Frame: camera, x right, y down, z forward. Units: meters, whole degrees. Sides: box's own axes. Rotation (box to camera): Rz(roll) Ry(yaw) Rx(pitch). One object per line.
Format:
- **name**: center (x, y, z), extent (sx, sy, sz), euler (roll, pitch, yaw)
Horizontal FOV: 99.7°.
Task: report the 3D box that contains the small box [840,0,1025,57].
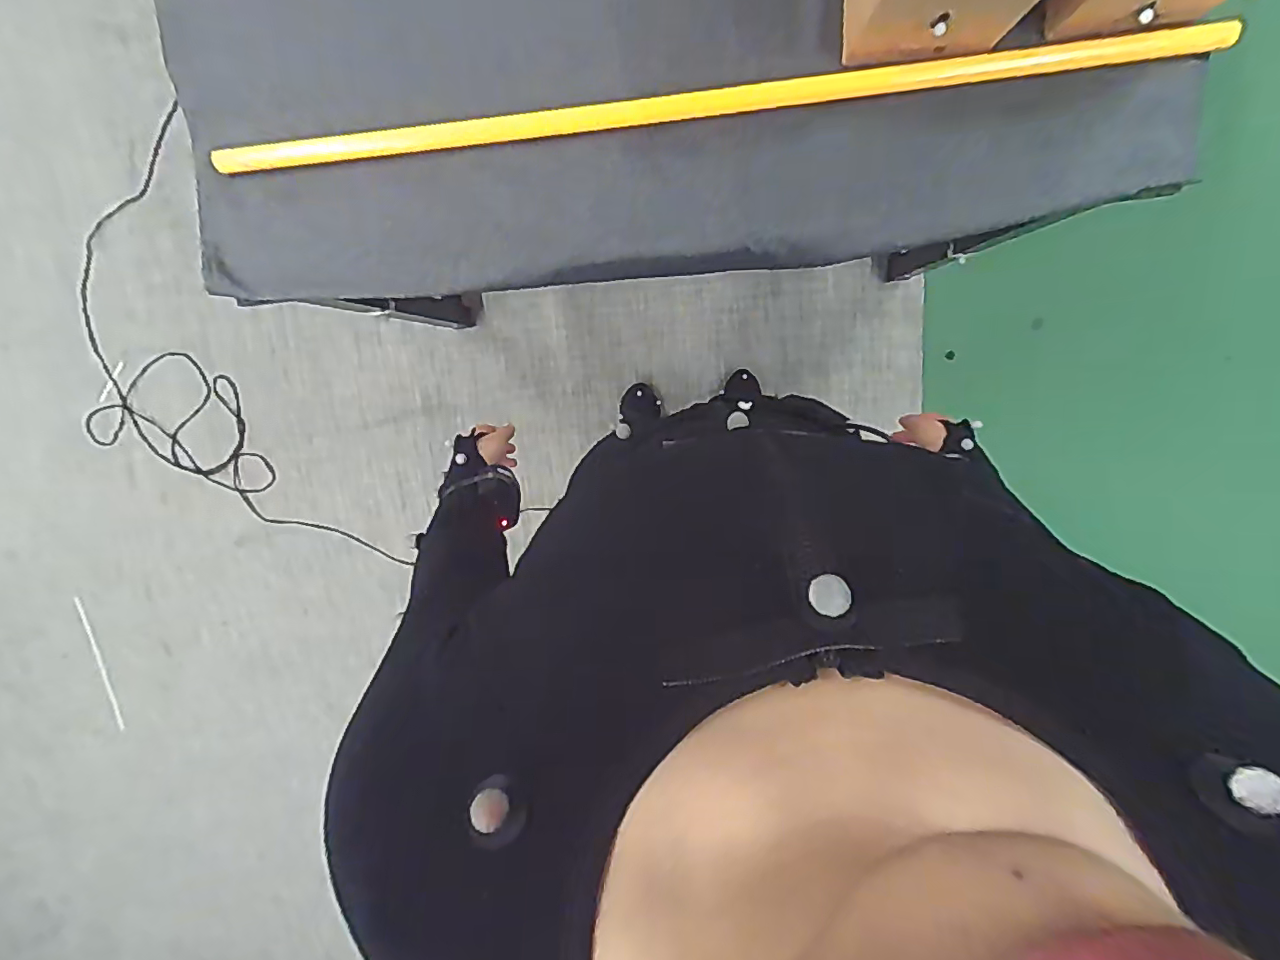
- **small box**: center (0.308, -0.558, 0.537), extent (0.168, 0.176, 0.179), euler (-2, 102, 3)
